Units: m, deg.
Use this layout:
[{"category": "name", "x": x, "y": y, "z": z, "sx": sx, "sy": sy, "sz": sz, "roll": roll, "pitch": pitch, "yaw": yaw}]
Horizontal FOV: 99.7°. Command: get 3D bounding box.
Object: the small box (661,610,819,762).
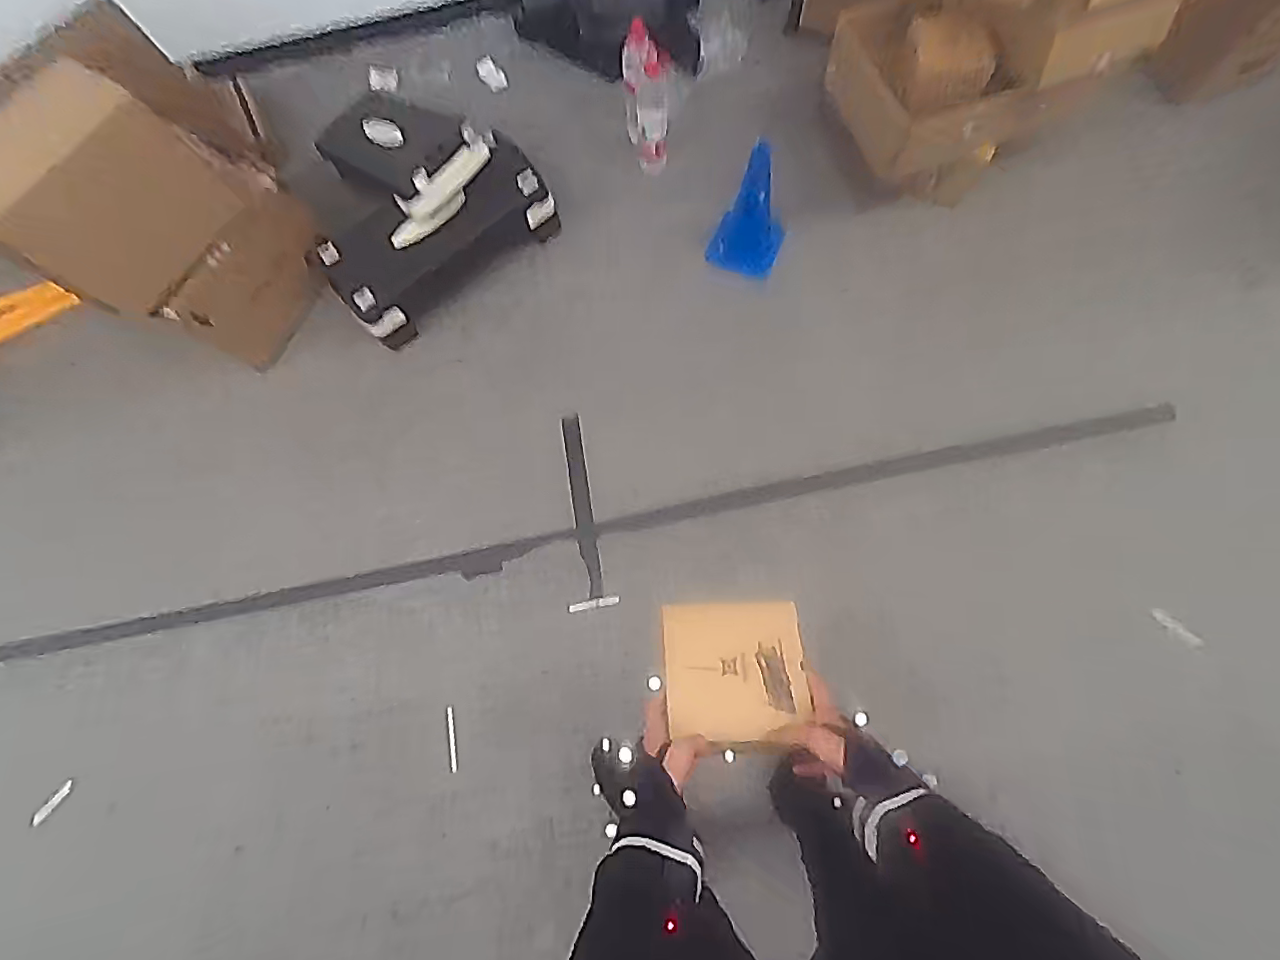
[{"category": "small box", "x": 0.121, "y": 0.283, "z": 0.735, "sx": 0.179, "sy": 0.176, "sz": 0.168, "roll": -2, "pitch": 58, "yaw": 0}]
